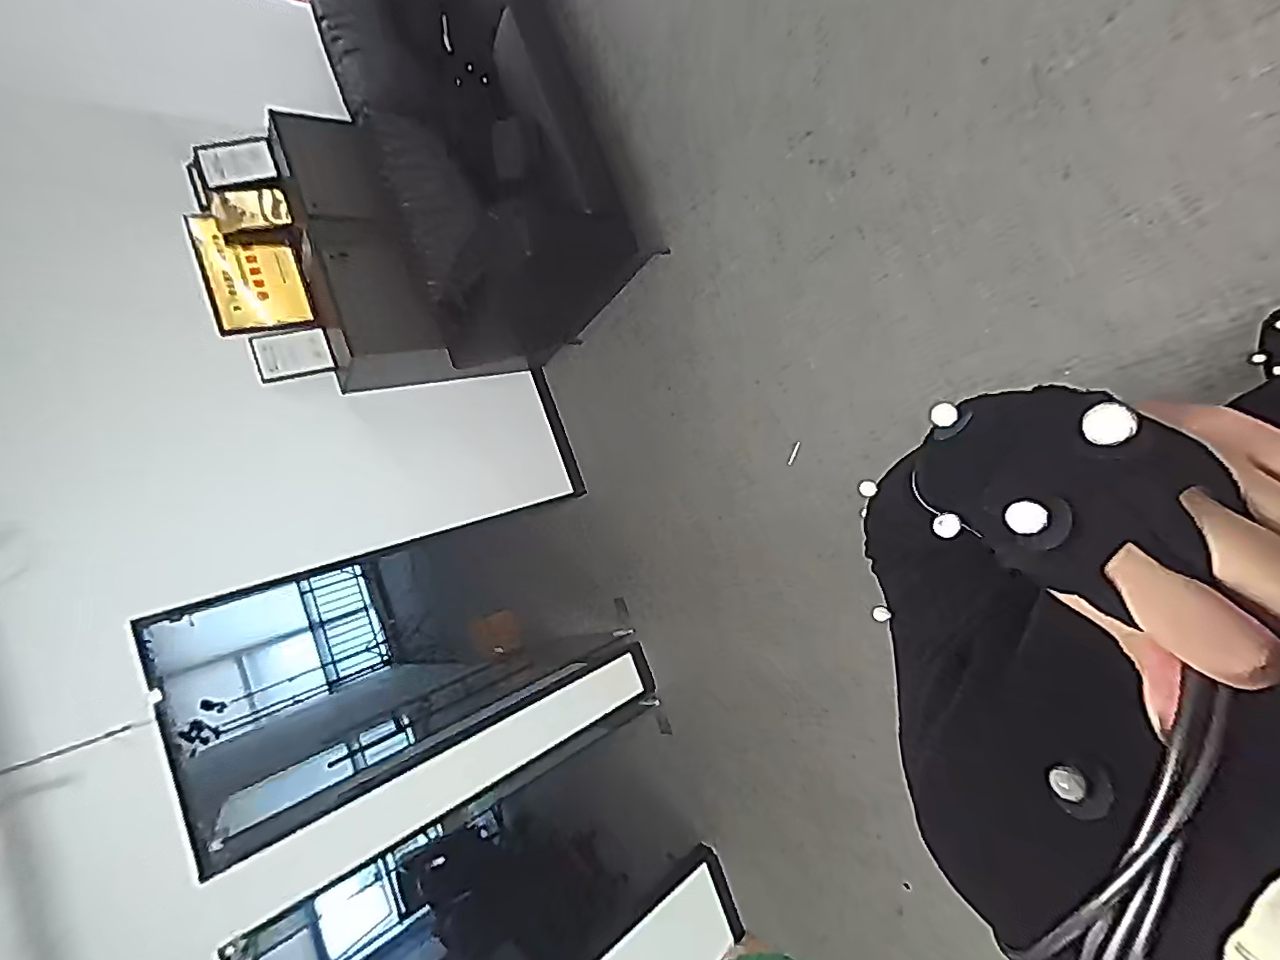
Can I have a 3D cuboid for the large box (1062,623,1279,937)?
[{"bbox_3d":[1.110,0.540,1.013,0.320,0.320,0.408,-42,70,49],"label":"large box"}]
